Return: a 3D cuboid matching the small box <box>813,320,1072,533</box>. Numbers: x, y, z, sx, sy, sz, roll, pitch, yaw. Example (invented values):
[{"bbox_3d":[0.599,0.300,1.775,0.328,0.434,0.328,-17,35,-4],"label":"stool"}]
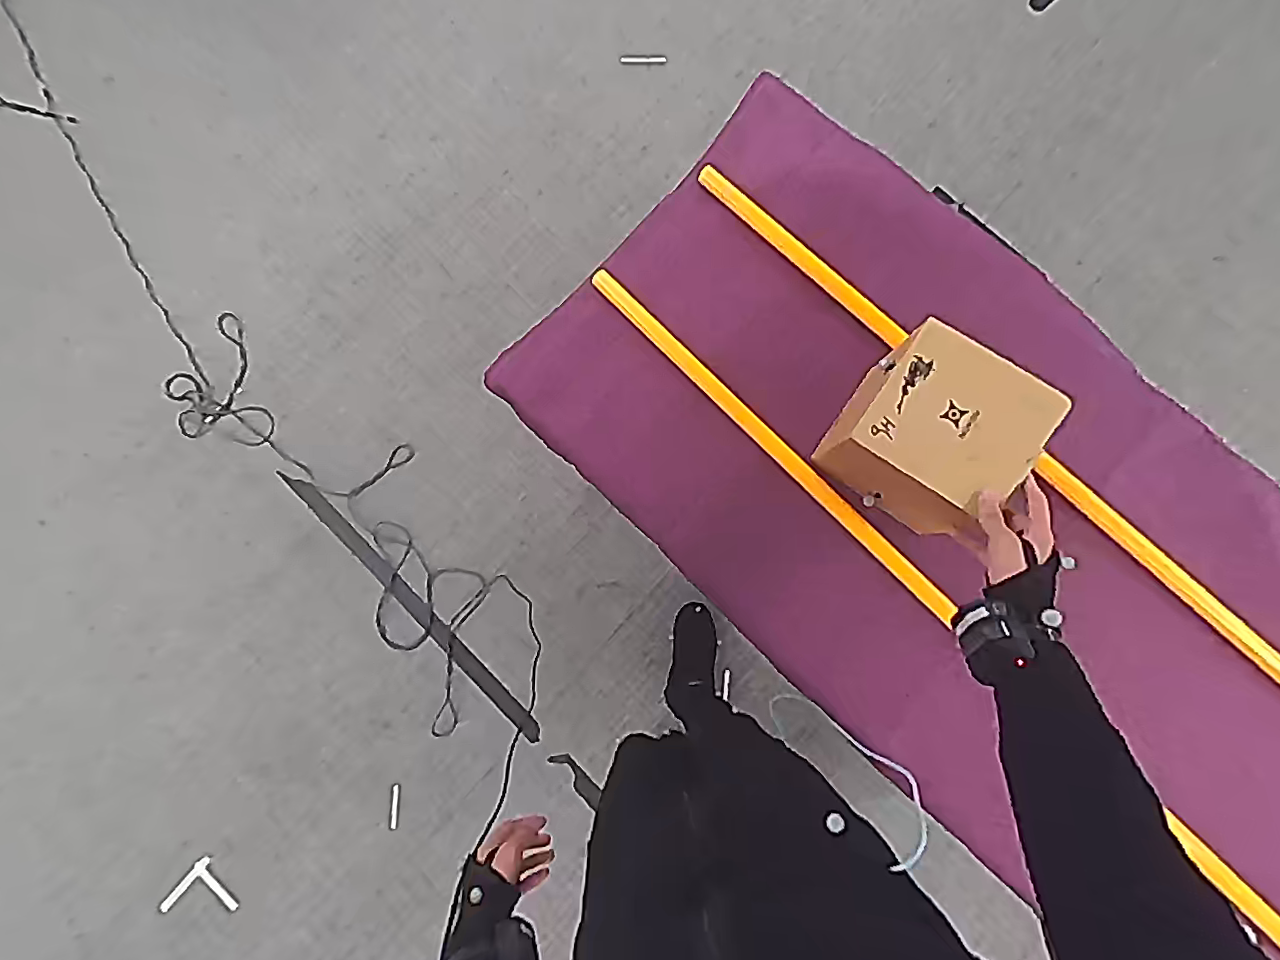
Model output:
[{"bbox_3d":[0.341,-0.052,0.649,0.179,0.176,0.168,35,86,6],"label":"small box"}]
